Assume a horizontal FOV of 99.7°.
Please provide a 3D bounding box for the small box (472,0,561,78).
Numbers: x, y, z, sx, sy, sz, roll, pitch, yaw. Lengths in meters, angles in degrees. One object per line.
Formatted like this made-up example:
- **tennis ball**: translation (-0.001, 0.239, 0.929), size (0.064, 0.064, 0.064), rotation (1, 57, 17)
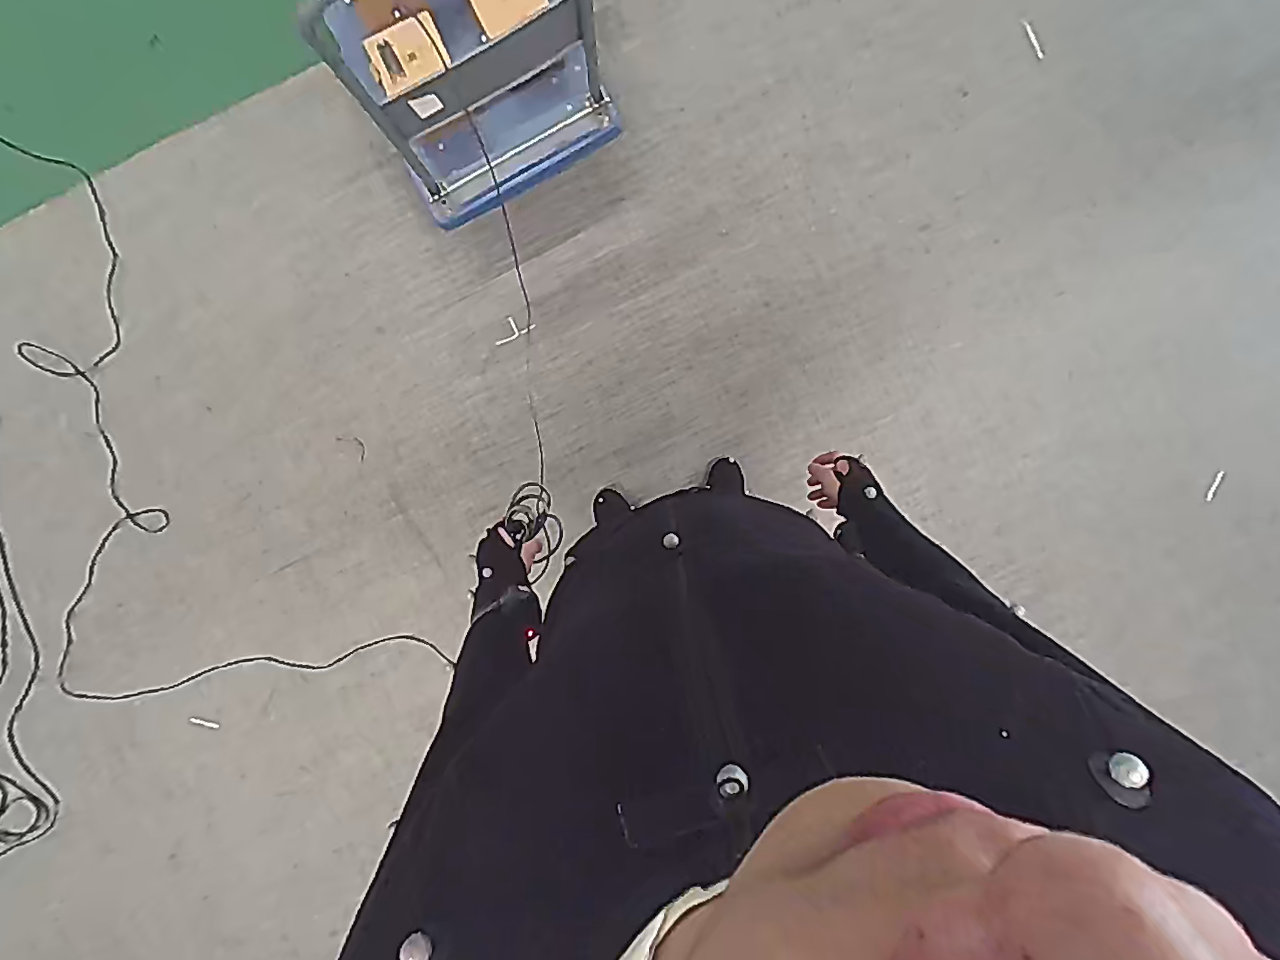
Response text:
- **small box**: translation (-0.313, -1.164, 1.342), size (0.168, 0.176, 0.179), rotation (-27, 93, 2)

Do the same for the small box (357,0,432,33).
- **small box**: translation (-0.652, -1.270, 1.344), size (0.168, 0.176, 0.179), rotation (-31, 91, 1)
